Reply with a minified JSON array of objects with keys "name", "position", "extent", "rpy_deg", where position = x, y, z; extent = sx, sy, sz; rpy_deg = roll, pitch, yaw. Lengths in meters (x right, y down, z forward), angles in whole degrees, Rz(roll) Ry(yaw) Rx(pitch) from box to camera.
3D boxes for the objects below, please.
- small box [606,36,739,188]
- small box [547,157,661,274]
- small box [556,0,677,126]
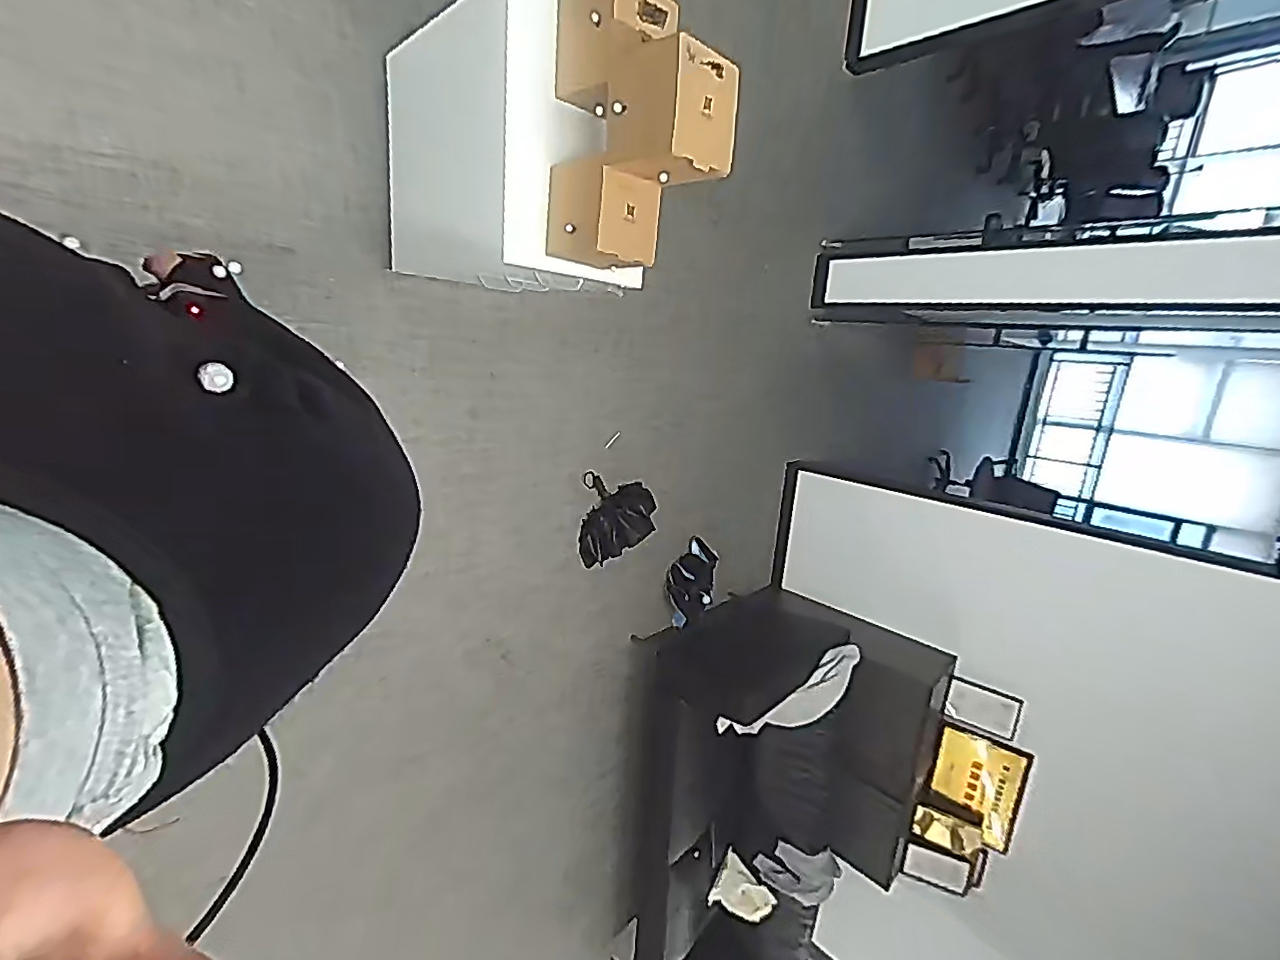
[{"name":"small box","position":[0.054,-0.645,0.978],"extent":[0.168,0.176,0.179],"rpy_deg":[-13,113,-45]},{"name":"small box","position":[-0.079,-0.533,1.120],"extent":[0.168,0.176,0.179],"rpy_deg":[-9,107,-46]},{"name":"small box","position":[-0.049,-0.822,1.051],"extent":[0.168,0.176,0.179],"rpy_deg":[-12,113,-44]}]
